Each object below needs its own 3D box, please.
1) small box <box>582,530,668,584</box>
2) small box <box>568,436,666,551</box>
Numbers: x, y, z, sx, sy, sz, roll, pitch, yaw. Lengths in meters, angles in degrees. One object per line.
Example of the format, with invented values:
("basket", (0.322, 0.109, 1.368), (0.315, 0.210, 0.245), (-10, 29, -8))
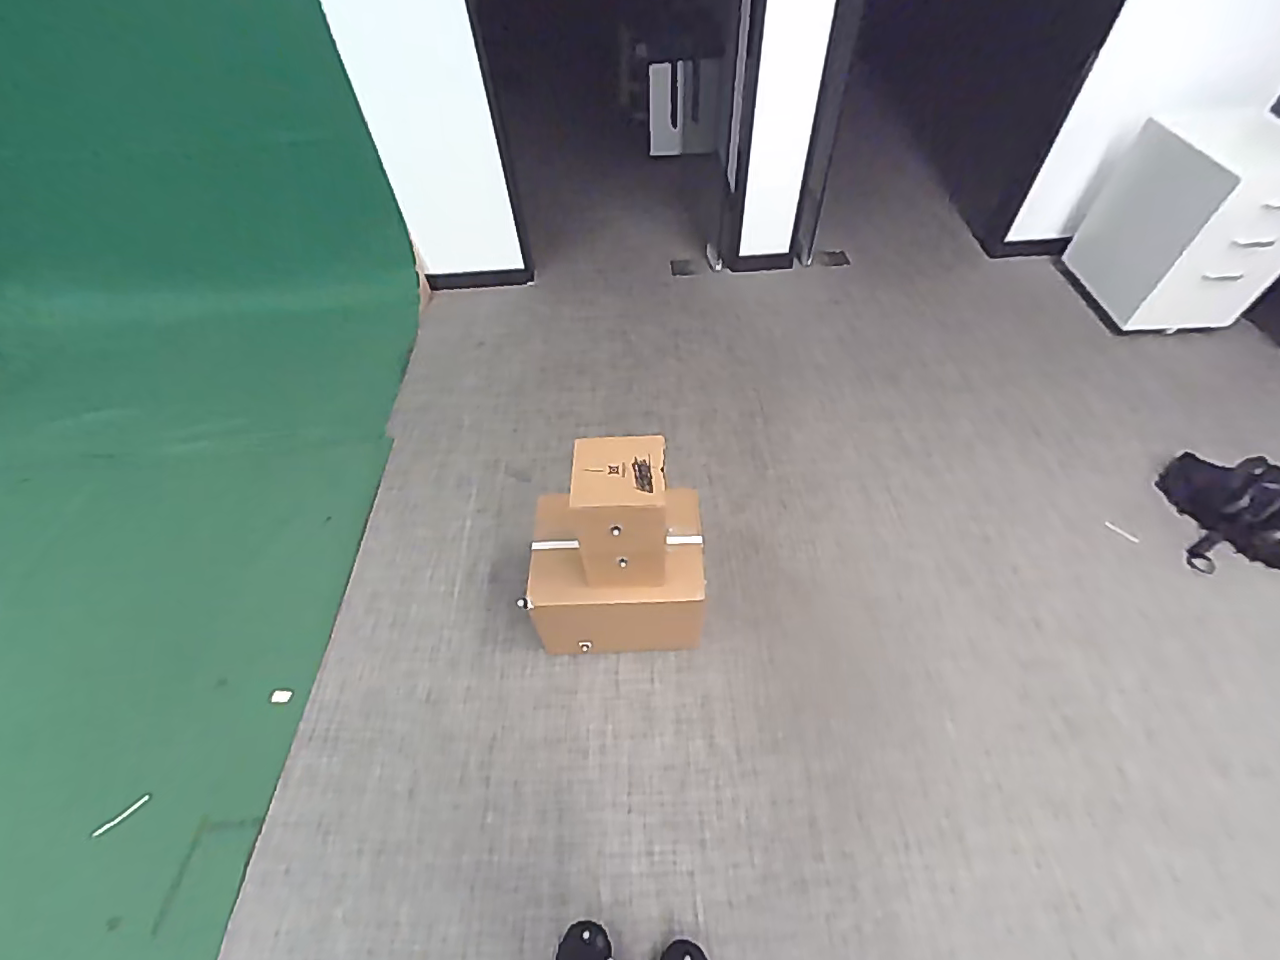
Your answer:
("small box", (-0.029, 0.124, 1.206), (0.179, 0.176, 0.168), (-2, 54, 1))
("small box", (-0.037, 0.030, 1.071), (0.179, 0.176, 0.168), (-3, 54, 3))
